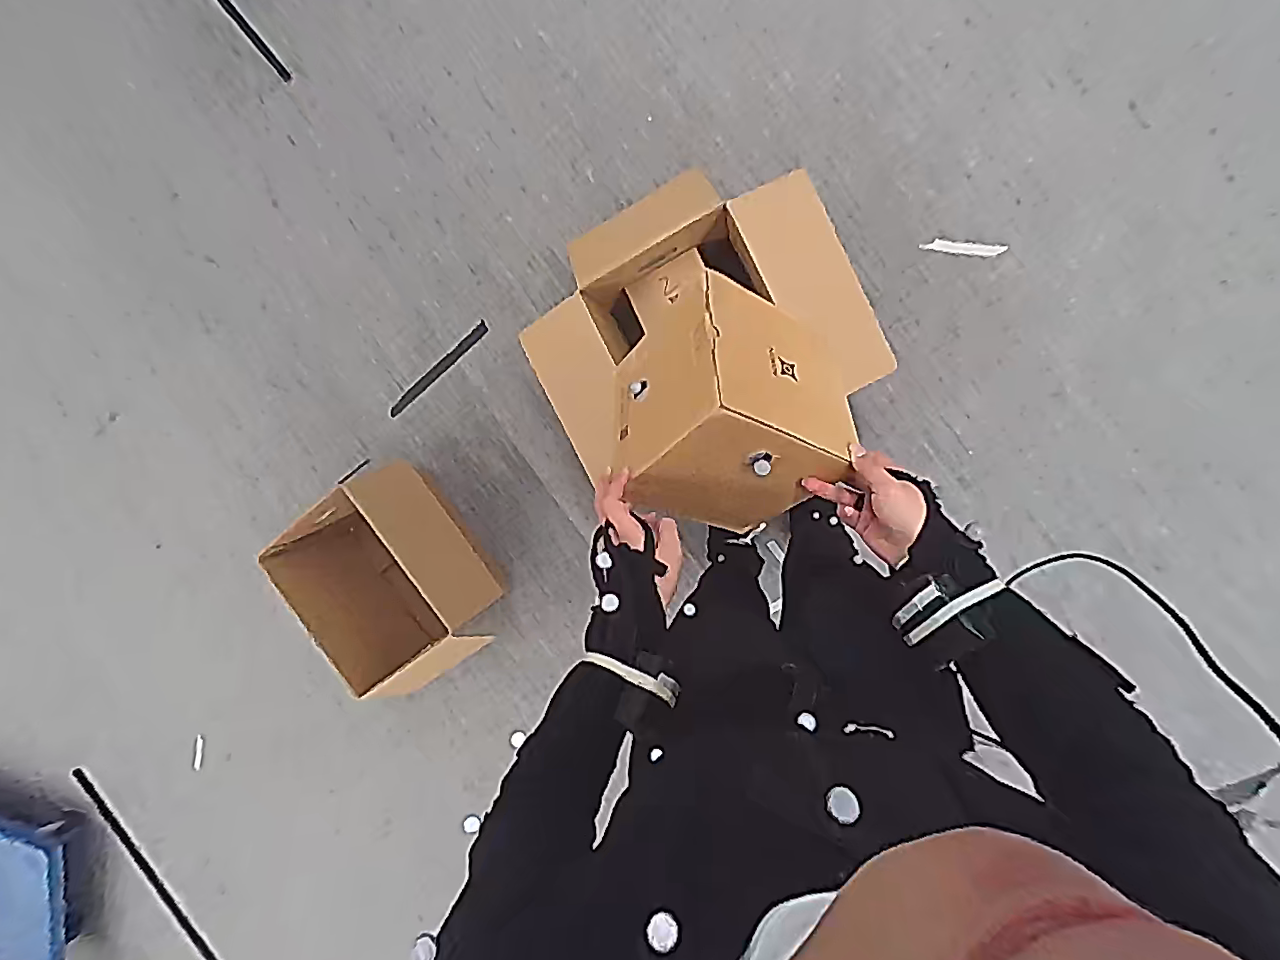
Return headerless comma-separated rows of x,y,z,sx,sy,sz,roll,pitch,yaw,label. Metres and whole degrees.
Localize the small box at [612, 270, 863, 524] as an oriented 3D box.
0.090,-0.069,0.556,0.179,0.168,0.176,17,145,-28,small box
